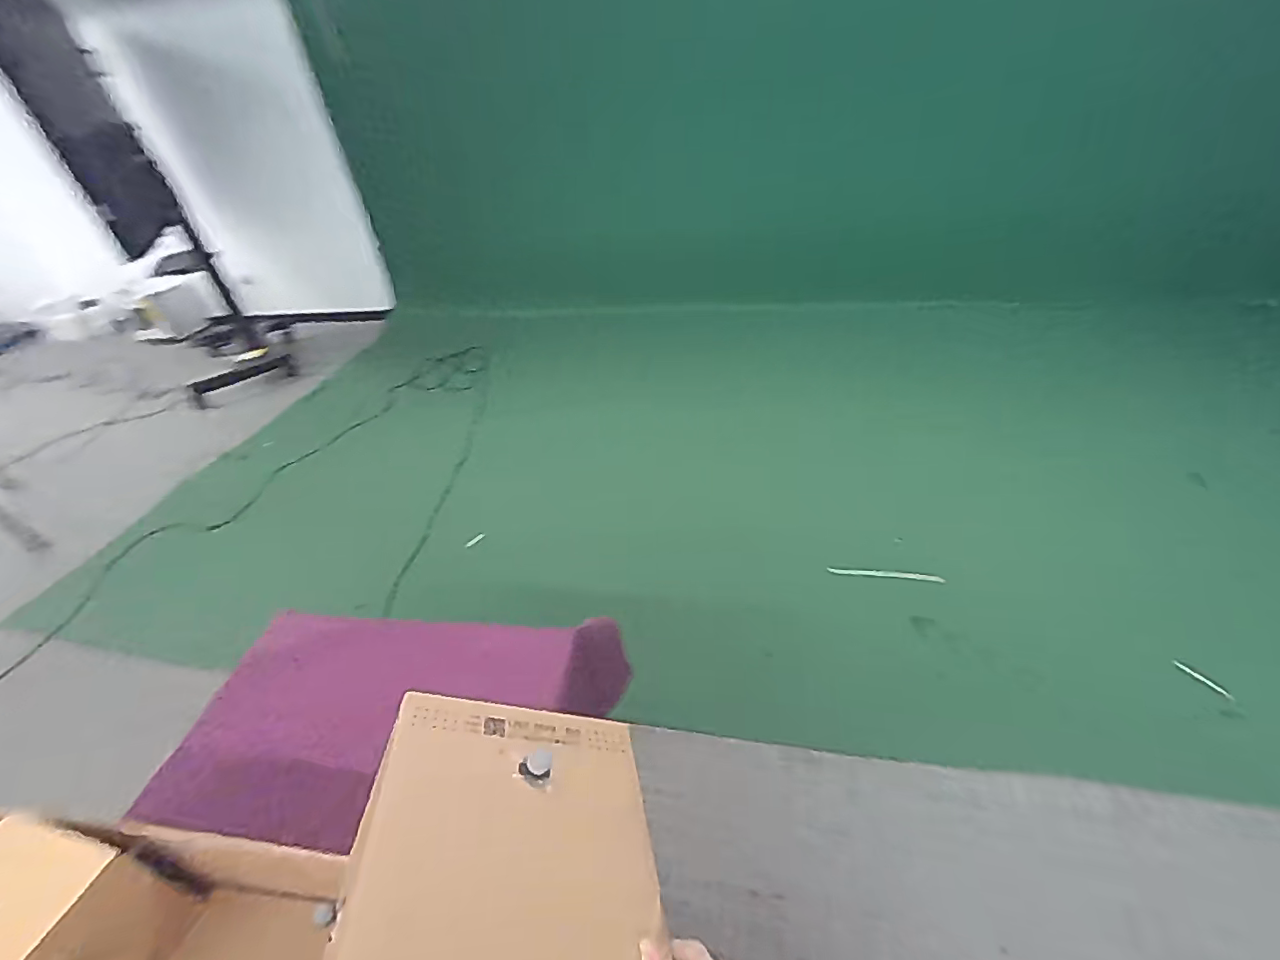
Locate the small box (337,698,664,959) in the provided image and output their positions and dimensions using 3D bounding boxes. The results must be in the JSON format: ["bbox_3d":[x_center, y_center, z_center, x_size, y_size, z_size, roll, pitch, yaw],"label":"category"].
[{"bbox_3d":[-0.098,0.280,0.355,0.168,0.179,0.176,17,20,-18],"label":"small box"}]
